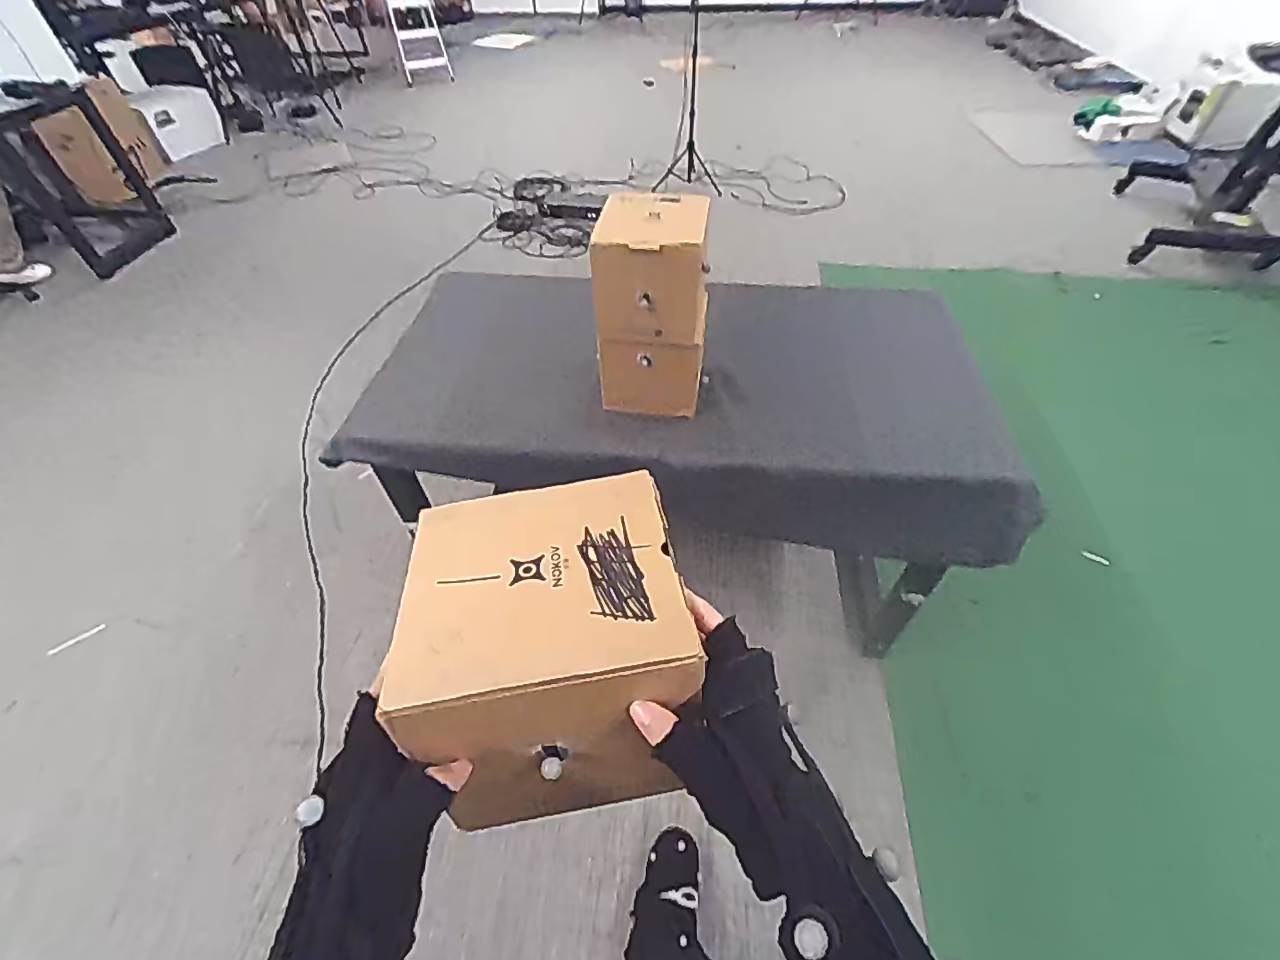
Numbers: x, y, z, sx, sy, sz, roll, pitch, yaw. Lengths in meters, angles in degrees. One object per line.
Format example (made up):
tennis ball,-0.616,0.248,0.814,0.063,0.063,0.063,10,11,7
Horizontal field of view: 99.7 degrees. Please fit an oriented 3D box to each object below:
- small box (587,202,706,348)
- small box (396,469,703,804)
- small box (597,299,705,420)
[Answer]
small box,0.017,-0.337,0.897,0.168,0.176,0.179,6,50,7
small box,-0.056,0.117,0.414,0.179,0.176,0.168,-10,39,-5
small box,0.024,-0.231,1.022,0.179,0.176,0.168,6,50,5
